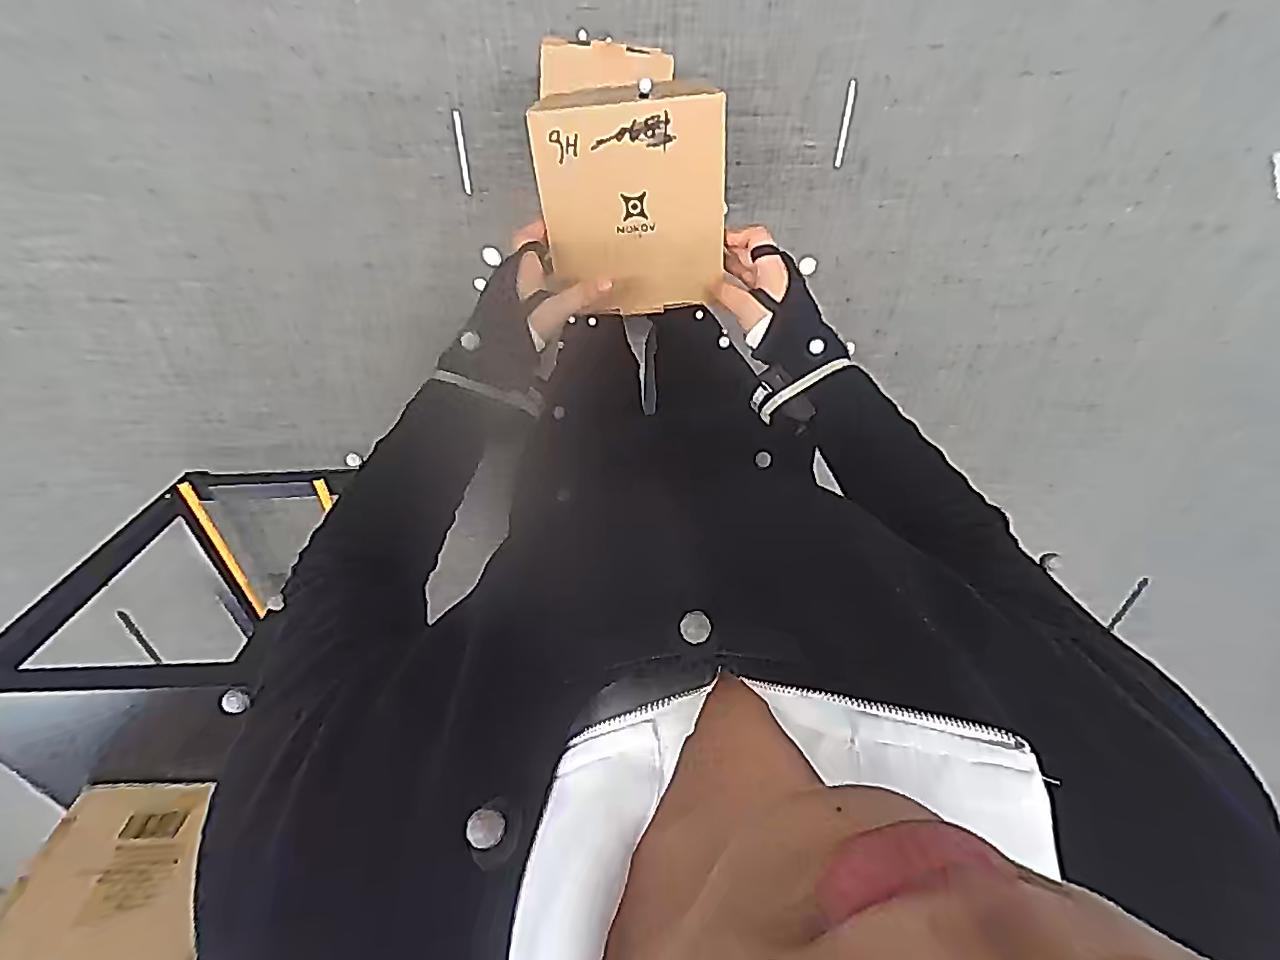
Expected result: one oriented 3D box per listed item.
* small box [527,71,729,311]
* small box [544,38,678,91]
[{"bbox_3d":[-0.006,-0.292,0.546,0.168,0.176,0.179,-4,131,2],"label":"small box"},{"bbox_3d":[-0.045,-0.497,0.763,0.168,0.176,0.179,4,126,-4],"label":"small box"}]
